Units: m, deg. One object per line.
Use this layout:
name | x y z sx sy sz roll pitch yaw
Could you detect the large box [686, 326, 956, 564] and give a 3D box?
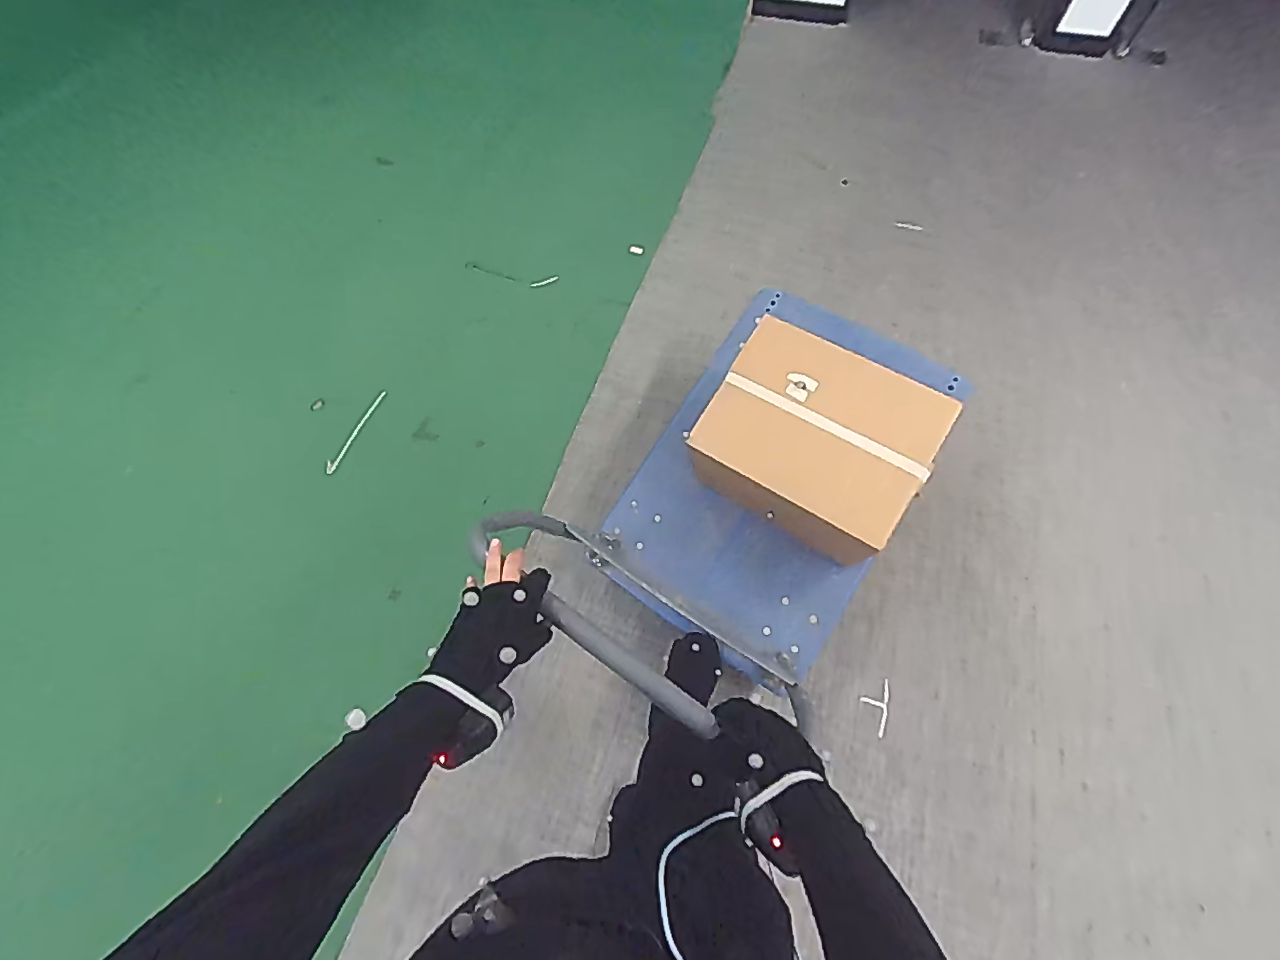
large box | 0.366 -0.059 1.161 0.408 0.320 0.320 31 83 18
